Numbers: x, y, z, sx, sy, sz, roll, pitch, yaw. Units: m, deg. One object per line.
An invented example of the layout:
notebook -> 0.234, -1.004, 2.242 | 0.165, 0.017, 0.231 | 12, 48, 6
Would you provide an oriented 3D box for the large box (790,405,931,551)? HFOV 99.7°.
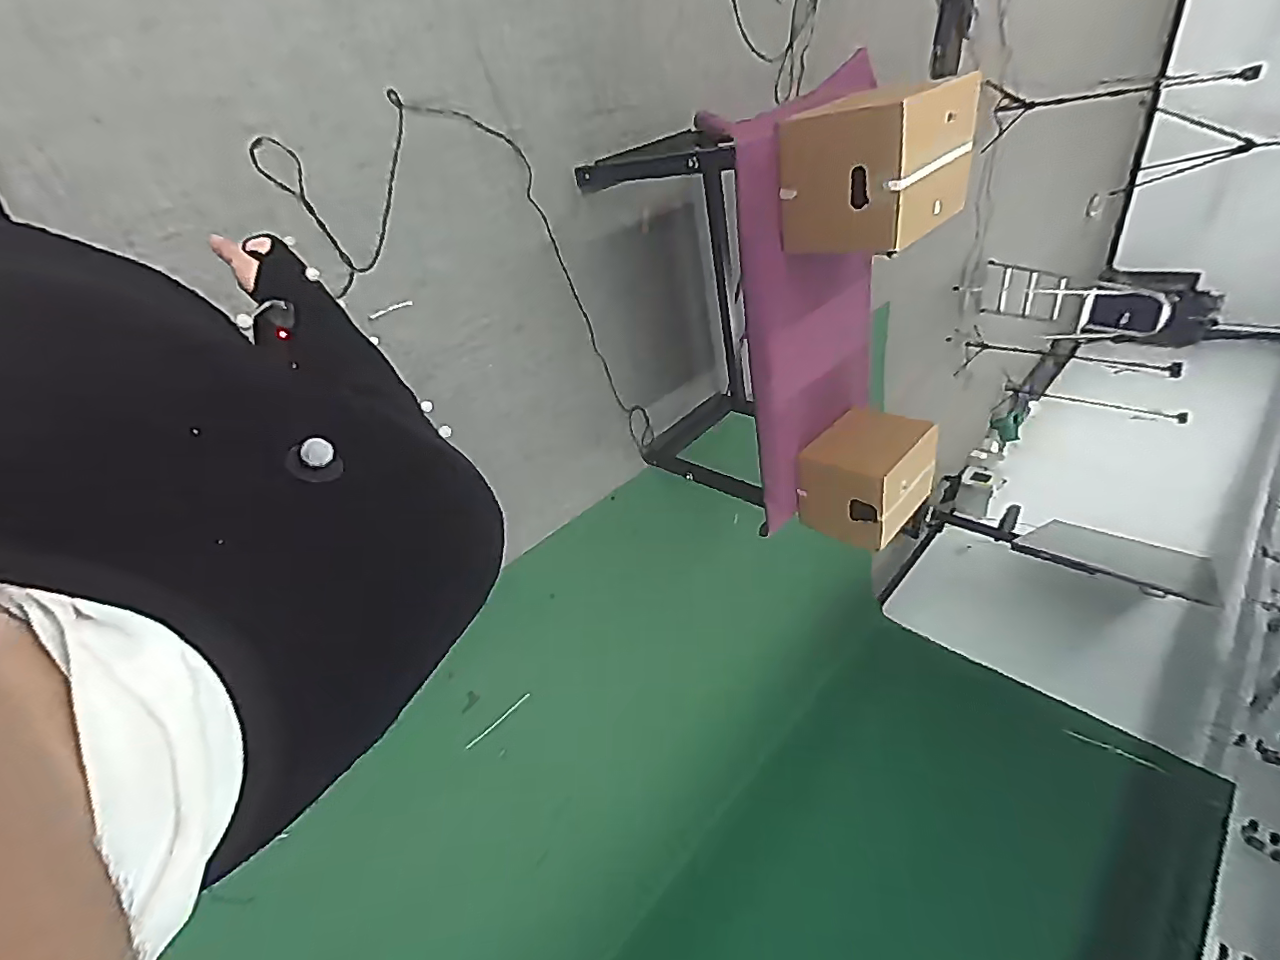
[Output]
large box -> 0.788, -0.024, 1.946 | 0.408, 0.320, 0.320 | -35, 128, -30
